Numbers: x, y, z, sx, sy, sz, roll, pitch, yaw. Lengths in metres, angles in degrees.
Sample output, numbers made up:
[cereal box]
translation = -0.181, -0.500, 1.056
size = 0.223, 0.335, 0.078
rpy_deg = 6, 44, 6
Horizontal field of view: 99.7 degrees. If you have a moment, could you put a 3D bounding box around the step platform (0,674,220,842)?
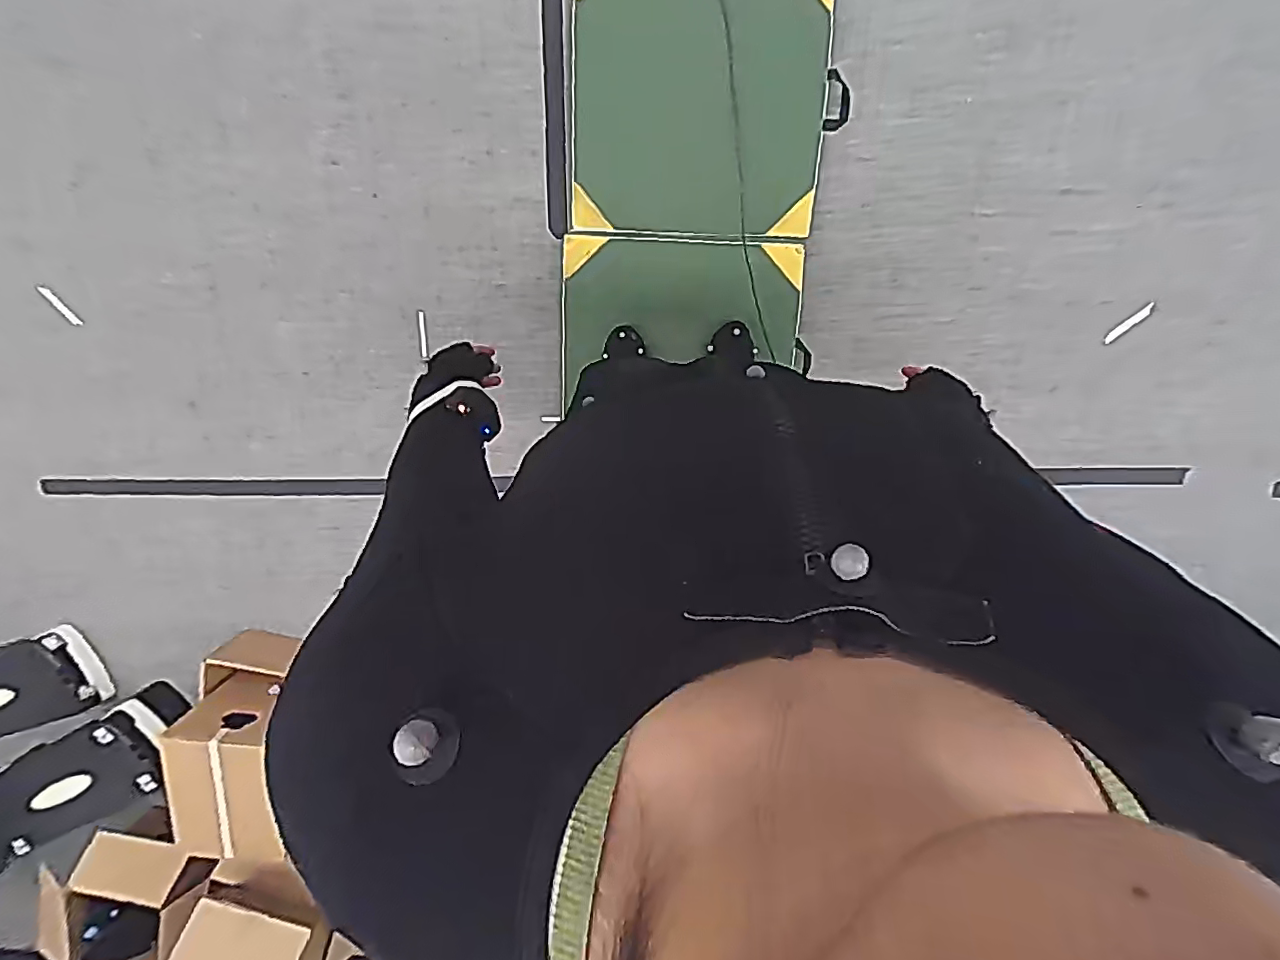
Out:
[step platform]
translation = -1.792, 0.924, 1.796
size = 0.684, 0.204, 0.286
rpy_deg = -28, 103, 8
